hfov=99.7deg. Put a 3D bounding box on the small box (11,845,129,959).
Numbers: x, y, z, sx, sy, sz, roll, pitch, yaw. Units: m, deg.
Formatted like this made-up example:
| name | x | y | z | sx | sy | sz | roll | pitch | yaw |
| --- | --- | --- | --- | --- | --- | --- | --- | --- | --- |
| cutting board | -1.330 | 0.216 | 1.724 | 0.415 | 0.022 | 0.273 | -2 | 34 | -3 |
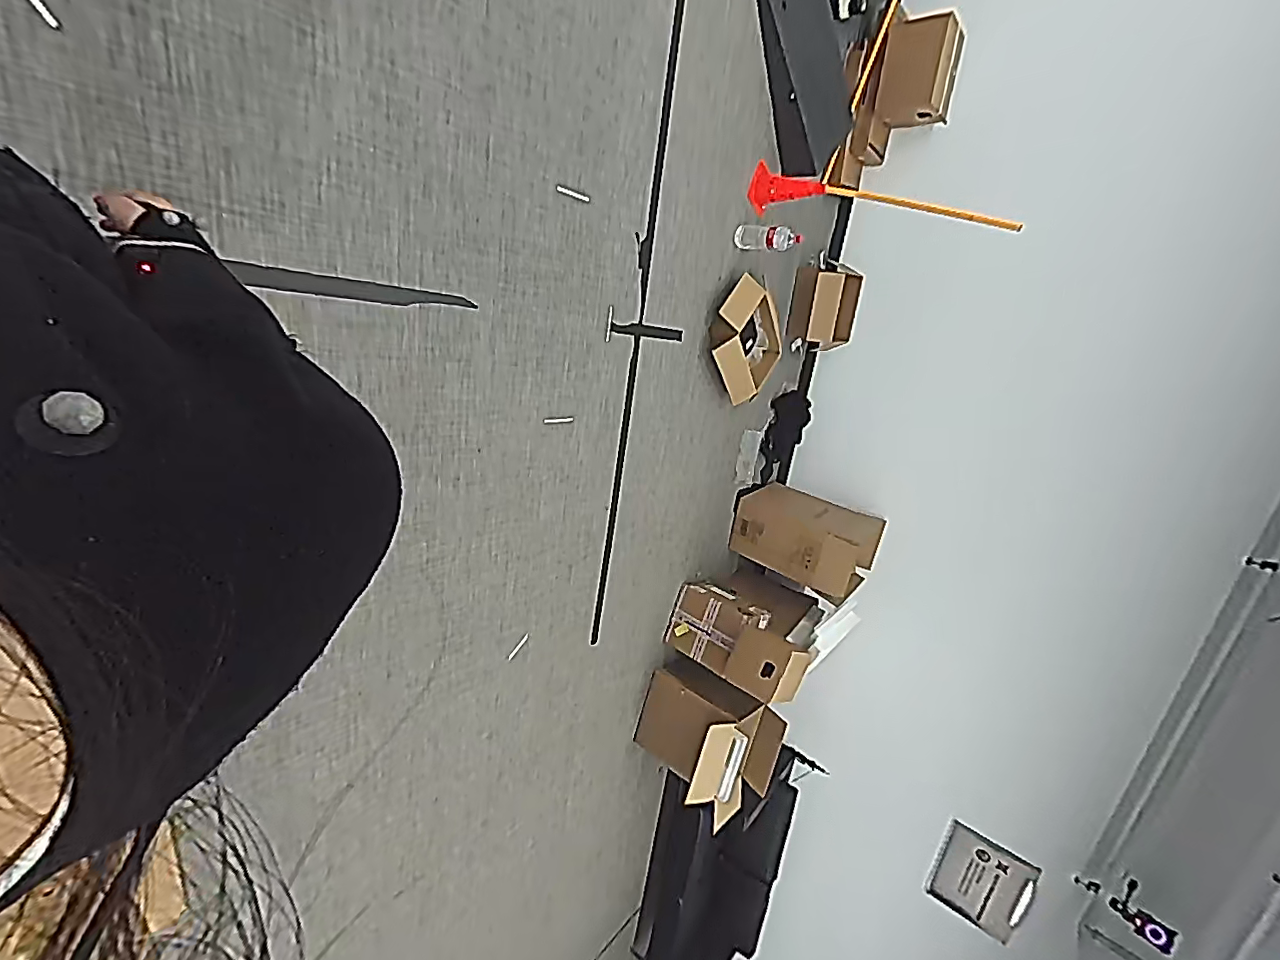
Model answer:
| name | x | y | z | sx | sy | sz | roll | pitch | yaw |
| --- | --- | --- | --- | --- | --- | --- | --- | --- | --- |
| small box | -1.313 | 0.992 | 1.248 | 0.168 | 0.176 | 0.179 | -9 | 115 | -50 |
